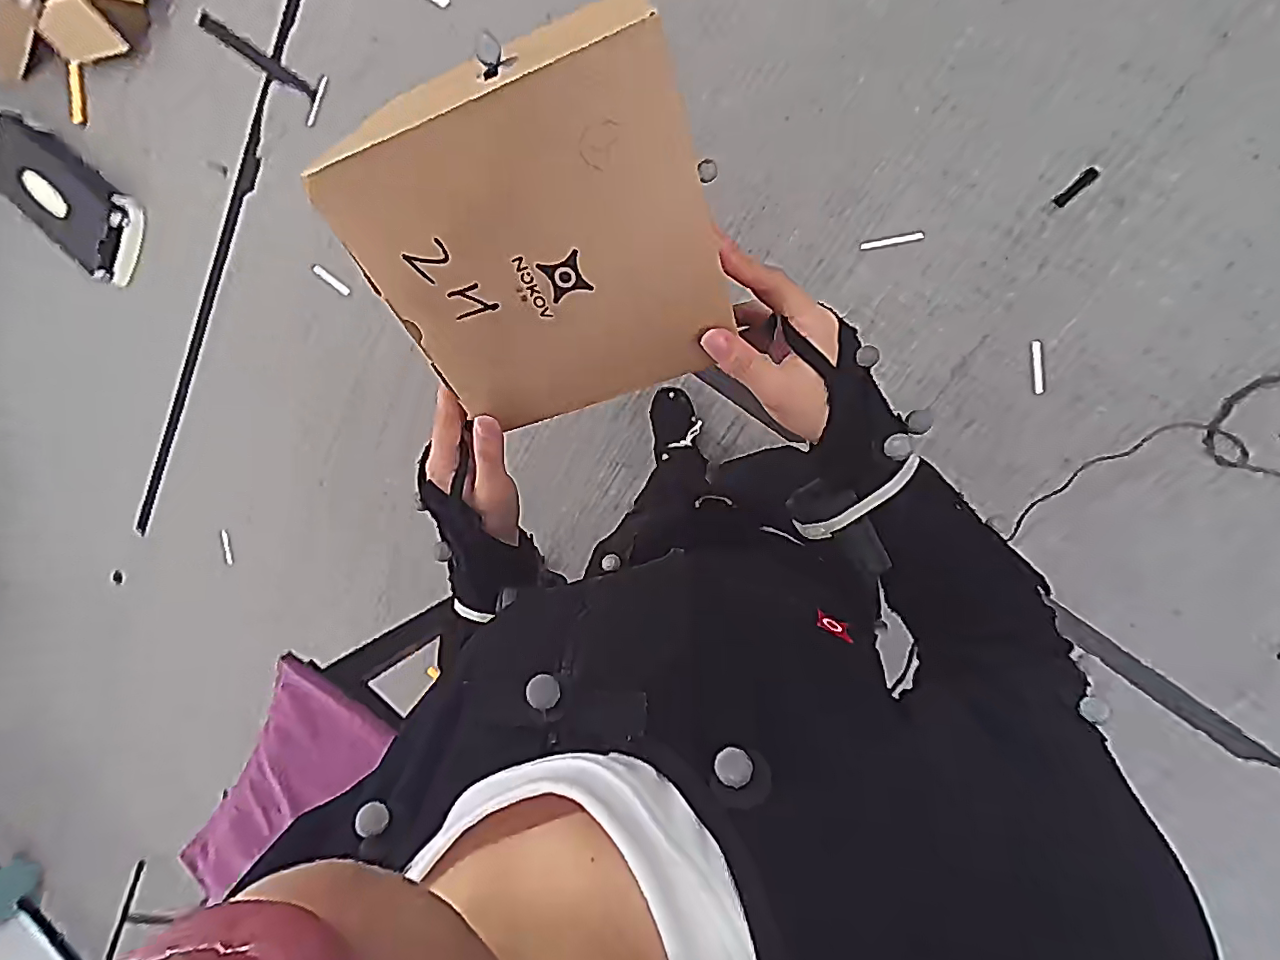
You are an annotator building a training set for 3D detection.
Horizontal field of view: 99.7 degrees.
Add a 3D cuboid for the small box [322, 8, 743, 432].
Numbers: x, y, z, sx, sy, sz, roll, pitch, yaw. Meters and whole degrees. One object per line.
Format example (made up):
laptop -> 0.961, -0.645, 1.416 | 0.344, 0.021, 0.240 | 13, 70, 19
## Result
small box -> -0.048, -0.164, 0.345 | 0.179, 0.176, 0.168 | -15, 133, 11
